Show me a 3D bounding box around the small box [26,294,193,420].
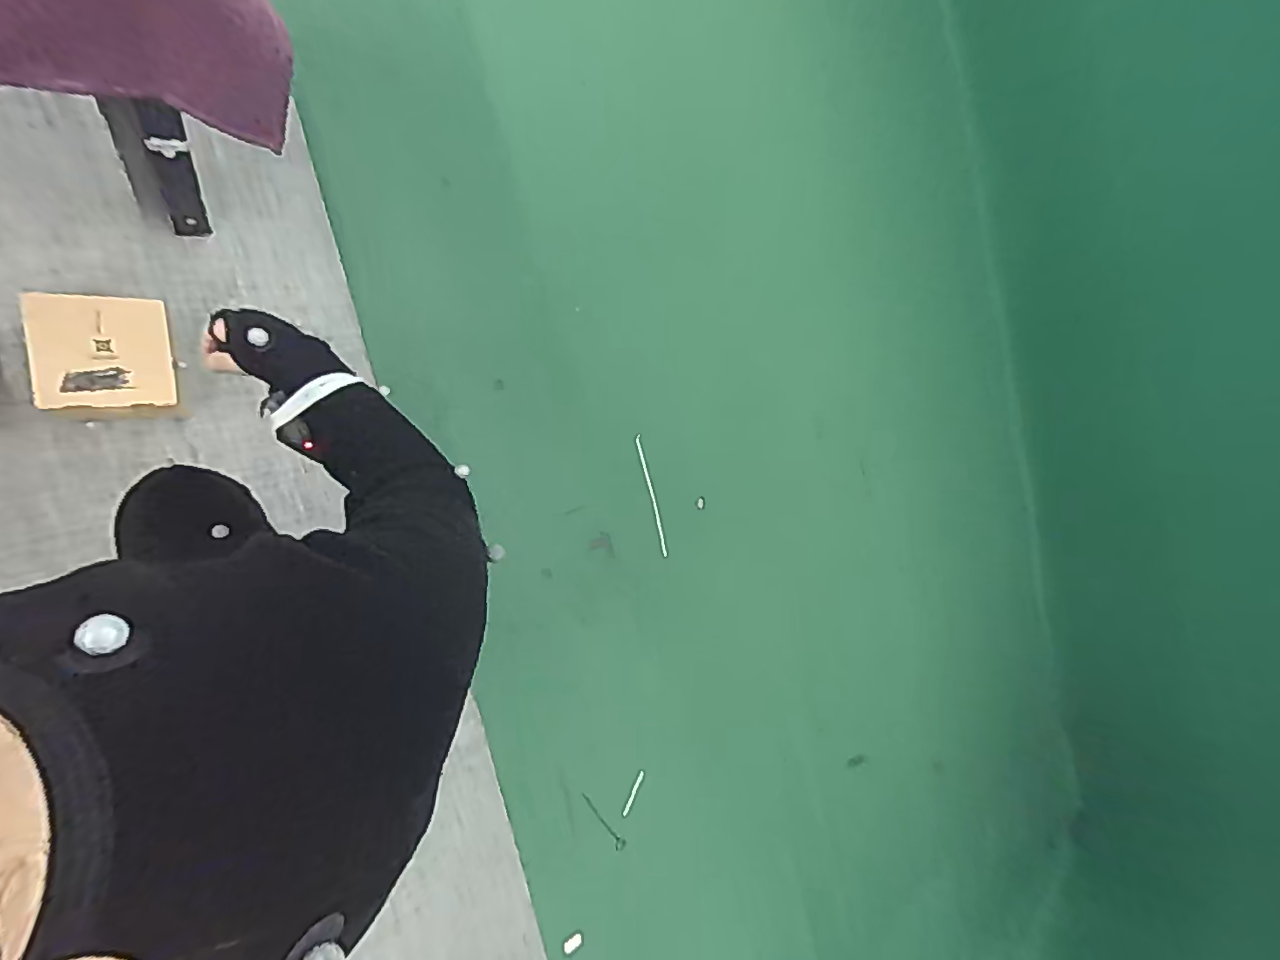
[{"bbox_3d":[-0.885,-0.197,0.920,0.168,0.176,0.179,-8,91,-34],"label":"small box"}]
